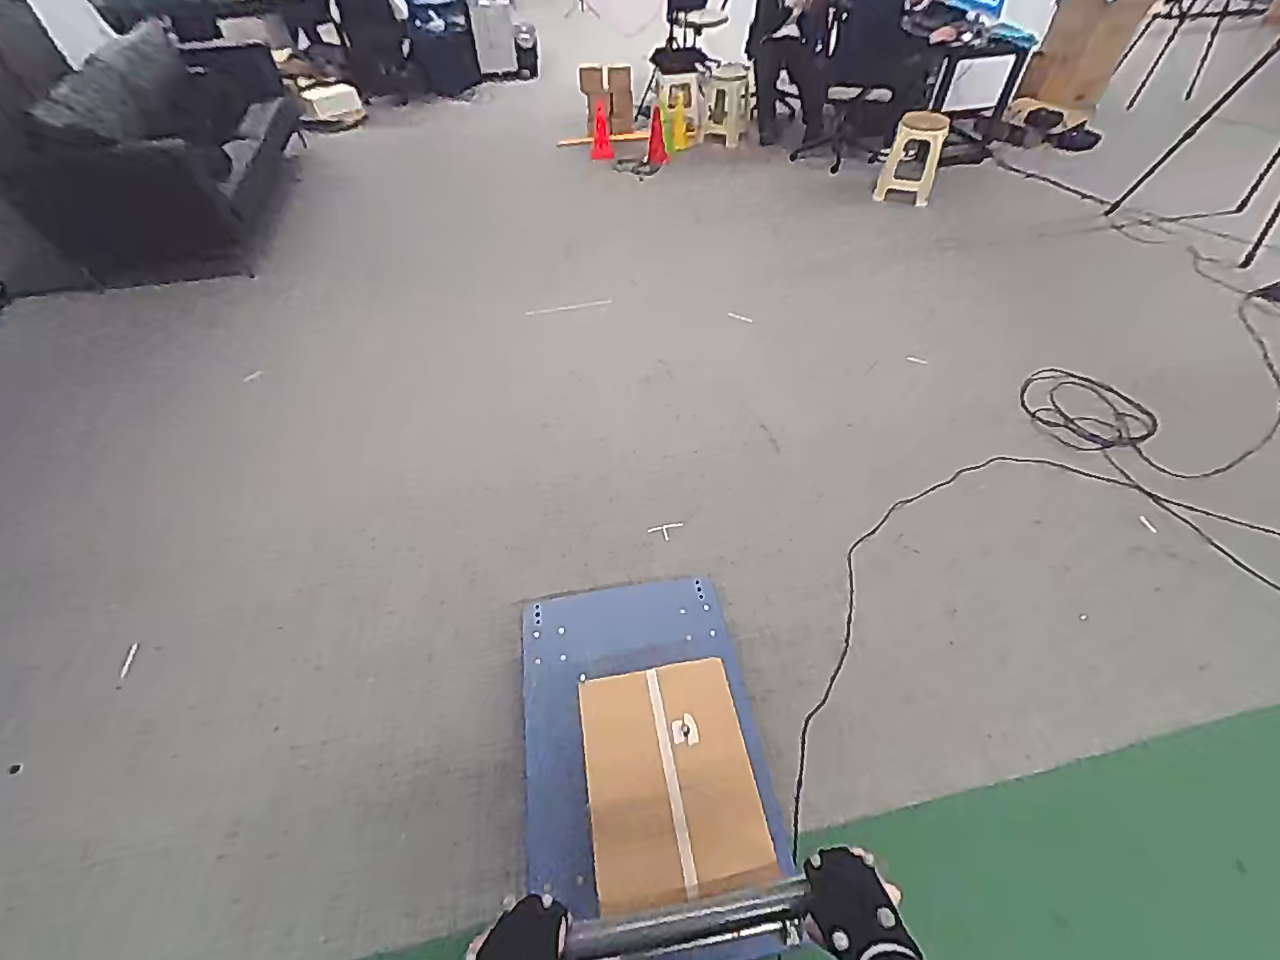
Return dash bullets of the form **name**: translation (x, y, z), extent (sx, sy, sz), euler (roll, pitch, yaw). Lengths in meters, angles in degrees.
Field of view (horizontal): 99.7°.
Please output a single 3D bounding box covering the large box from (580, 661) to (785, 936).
- **large box**: translation (0.064, 0.654, 1.124), extent (0.320, 0.320, 0.408), euler (-7, 48, -6)
